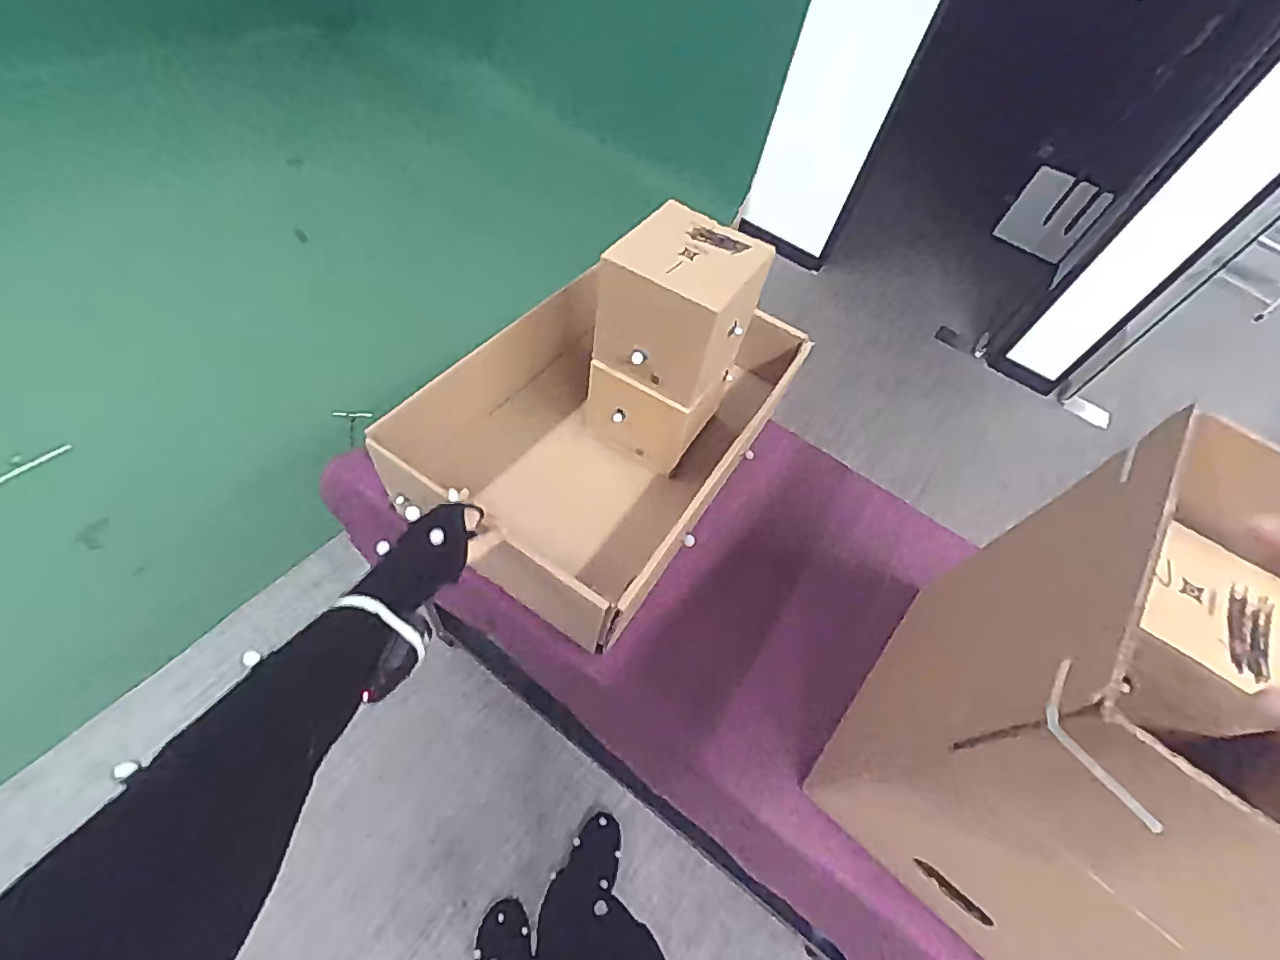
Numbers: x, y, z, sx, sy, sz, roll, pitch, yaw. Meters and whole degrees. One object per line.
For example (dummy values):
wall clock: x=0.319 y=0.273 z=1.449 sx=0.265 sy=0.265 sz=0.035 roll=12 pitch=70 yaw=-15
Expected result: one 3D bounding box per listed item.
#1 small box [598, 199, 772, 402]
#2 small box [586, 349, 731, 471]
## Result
small box: x=0.052 y=-0.244 z=0.745 sx=0.168 sy=0.176 sz=0.179 roll=30 pitch=58 yaw=12
small box: x=0.026 y=-0.147 z=0.876 sx=0.168 sy=0.176 sz=0.179 roll=29 pitch=56 yaw=11
